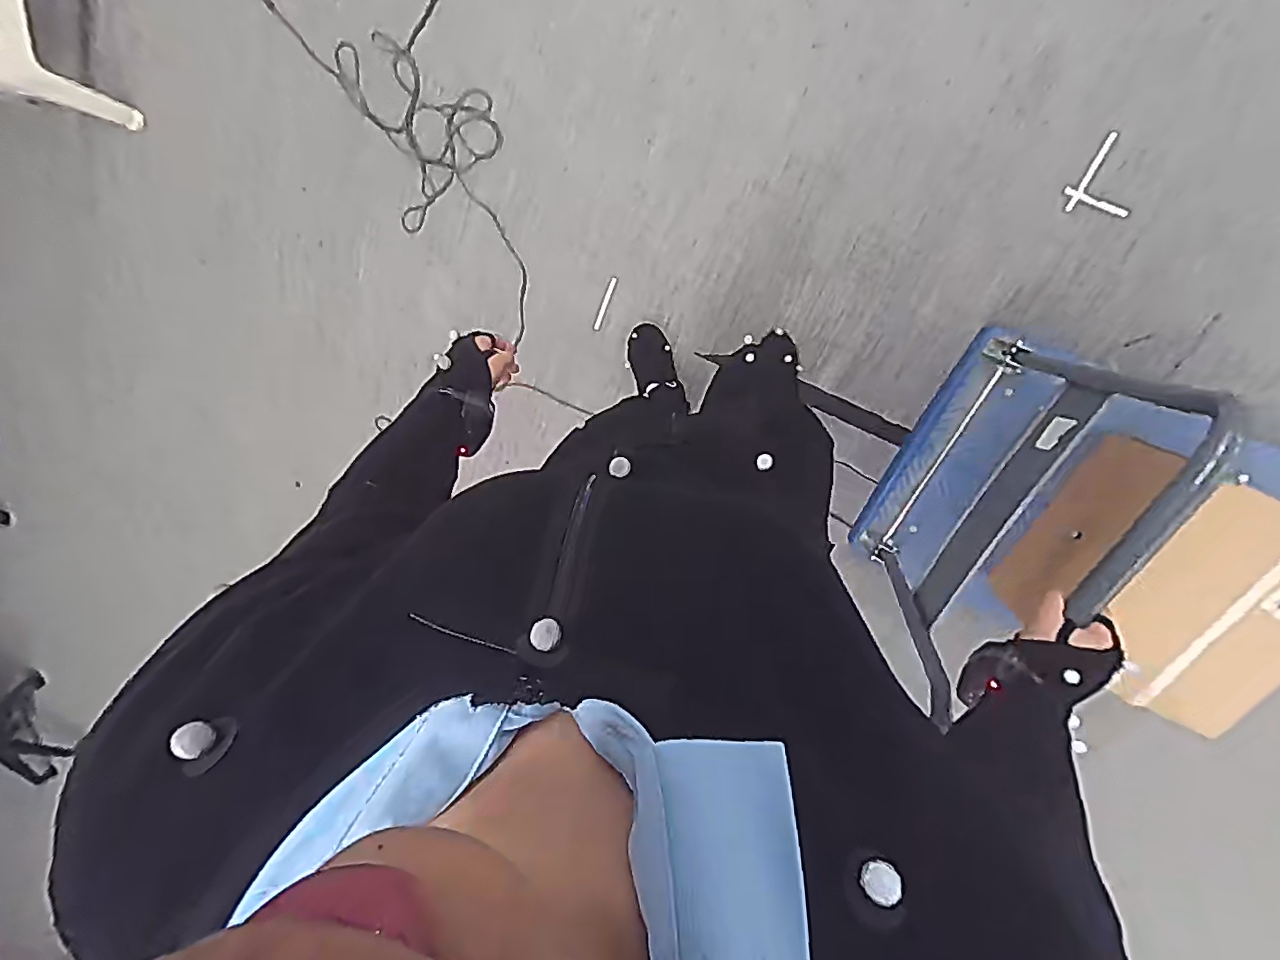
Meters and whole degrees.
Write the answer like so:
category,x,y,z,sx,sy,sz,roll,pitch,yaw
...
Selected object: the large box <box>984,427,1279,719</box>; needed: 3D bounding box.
category,x,y,z,sx,sy,sz,roll,pitch,yaw
large box,0.983,0.160,1.059,0.320,0.320,0.408,25,111,2
